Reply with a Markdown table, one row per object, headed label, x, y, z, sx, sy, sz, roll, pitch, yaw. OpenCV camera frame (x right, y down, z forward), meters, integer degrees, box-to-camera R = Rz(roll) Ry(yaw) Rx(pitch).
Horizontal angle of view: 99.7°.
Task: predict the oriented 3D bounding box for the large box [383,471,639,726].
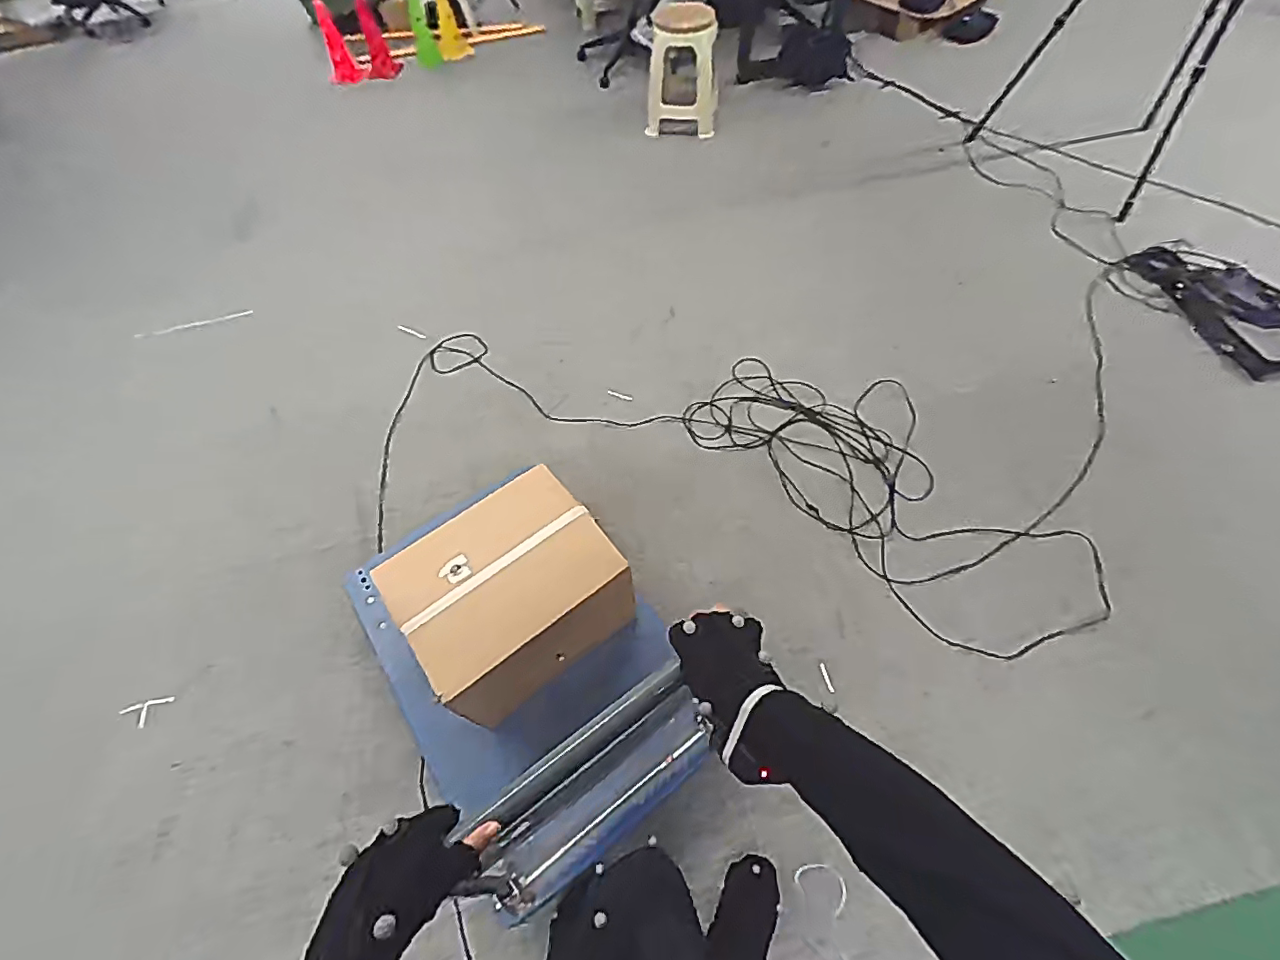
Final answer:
| label | x | y | z | sx | sy | sz | roll | pitch | yaw |
| --- | --- | --- | --- | --- | --- | --- | --- | --- | --- |
| large box | -0.252 | 0.262 | 1.183 | 0.408 | 0.320 | 0.320 | -35 | 62 | -17 |
